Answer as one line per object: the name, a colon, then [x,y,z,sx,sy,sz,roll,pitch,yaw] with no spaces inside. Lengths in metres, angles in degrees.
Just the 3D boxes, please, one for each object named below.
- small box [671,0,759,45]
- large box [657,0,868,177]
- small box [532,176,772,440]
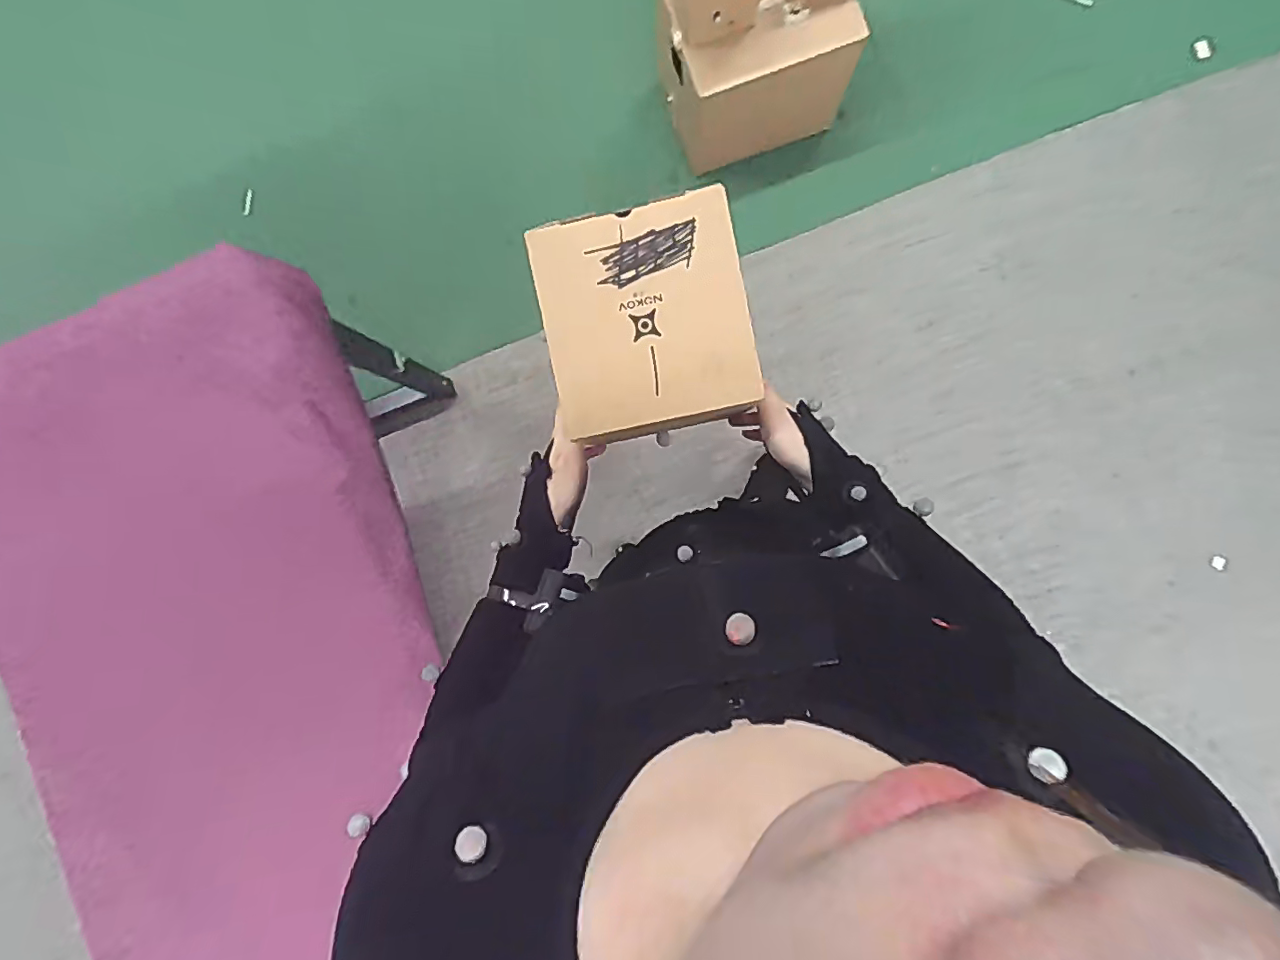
small box: [0.151,-1.079,1.133,0.168,0.176,0.179,-19,87,2]
large box: [0.281,-1.058,1.367,0.408,0.320,0.320,-19,88,2]
small box: [0.013,-0.138,0.502,0.168,0.176,0.179,-11,92,5]
